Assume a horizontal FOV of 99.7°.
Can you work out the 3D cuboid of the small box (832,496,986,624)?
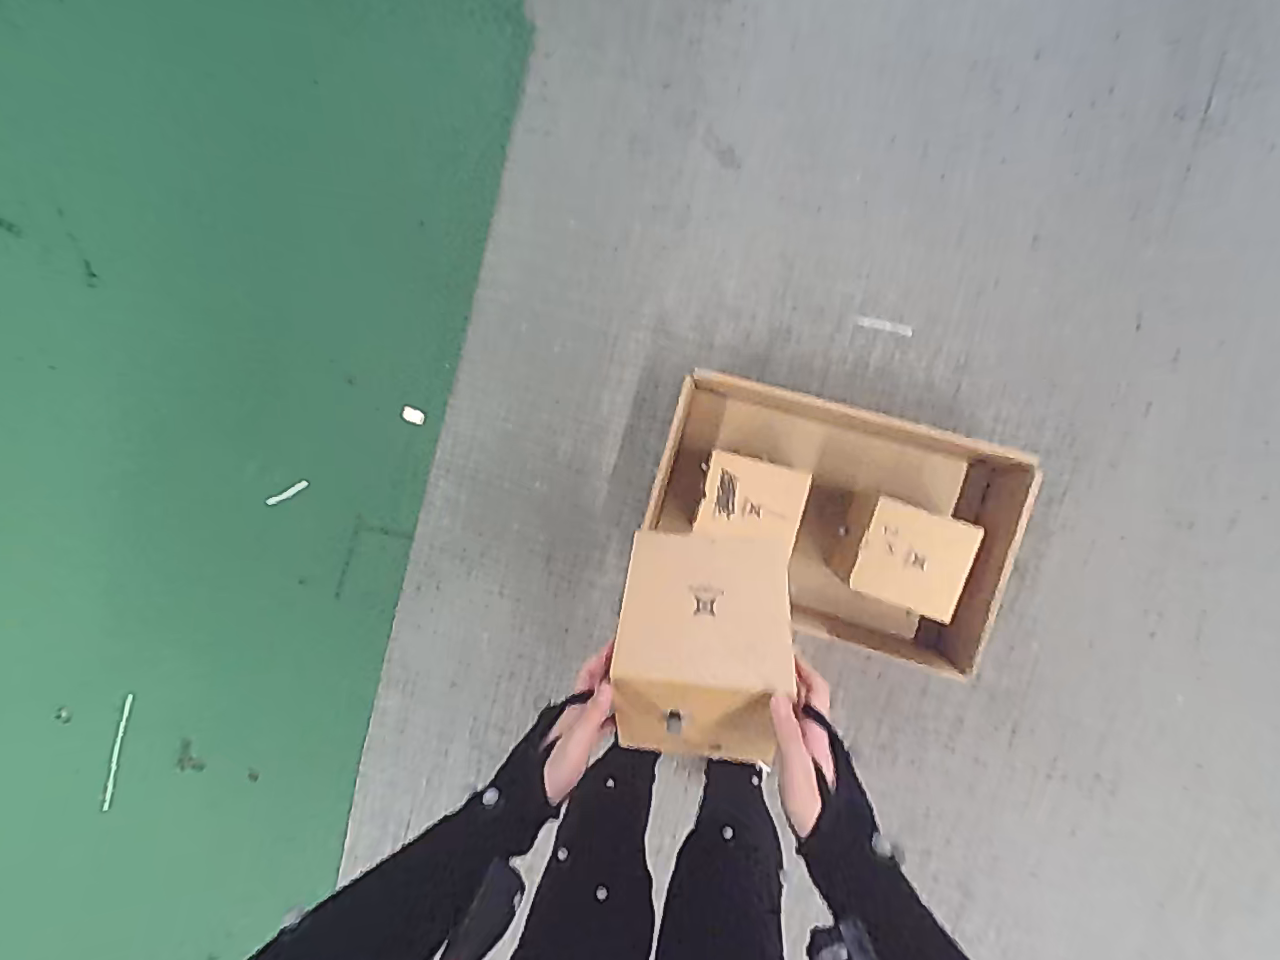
[{"bbox_3d":[0.469,0.131,0.974,0.179,0.176,0.168,20,94,9],"label":"small box"}]

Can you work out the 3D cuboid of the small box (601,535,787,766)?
[{"bbox_3d":[0.062,0.182,0.581,0.168,0.179,0.176,3,132,7],"label":"small box"}]
